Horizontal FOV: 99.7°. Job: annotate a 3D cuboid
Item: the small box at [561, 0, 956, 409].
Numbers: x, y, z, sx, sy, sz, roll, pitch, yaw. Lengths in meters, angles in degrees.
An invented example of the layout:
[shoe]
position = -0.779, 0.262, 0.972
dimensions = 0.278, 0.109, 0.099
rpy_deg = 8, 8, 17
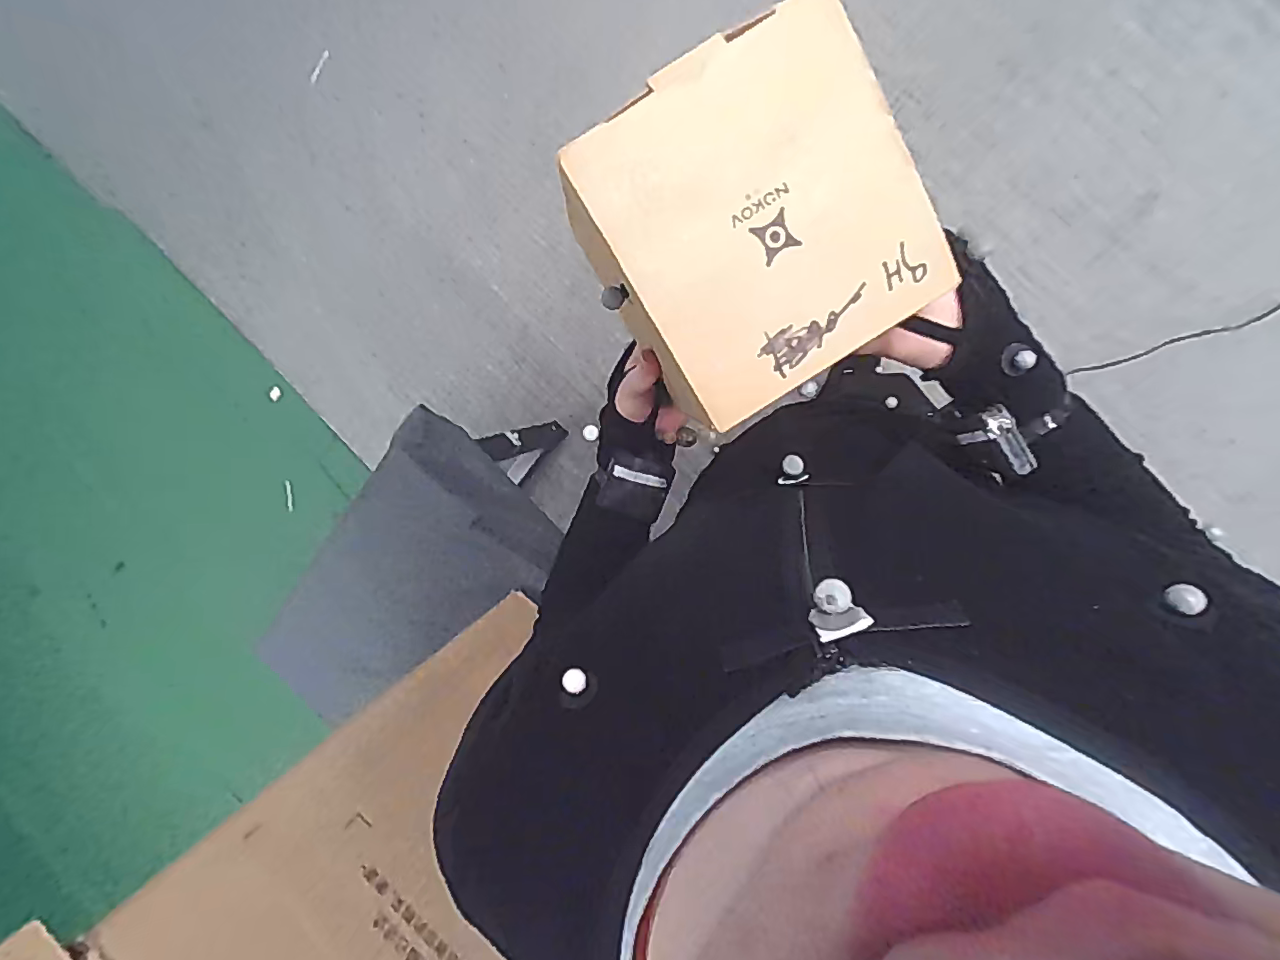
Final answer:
[small box]
position = 0.063, -0.166, 0.372
dimensions = 0.168, 0.176, 0.179
rpy_deg = -31, 102, 3
